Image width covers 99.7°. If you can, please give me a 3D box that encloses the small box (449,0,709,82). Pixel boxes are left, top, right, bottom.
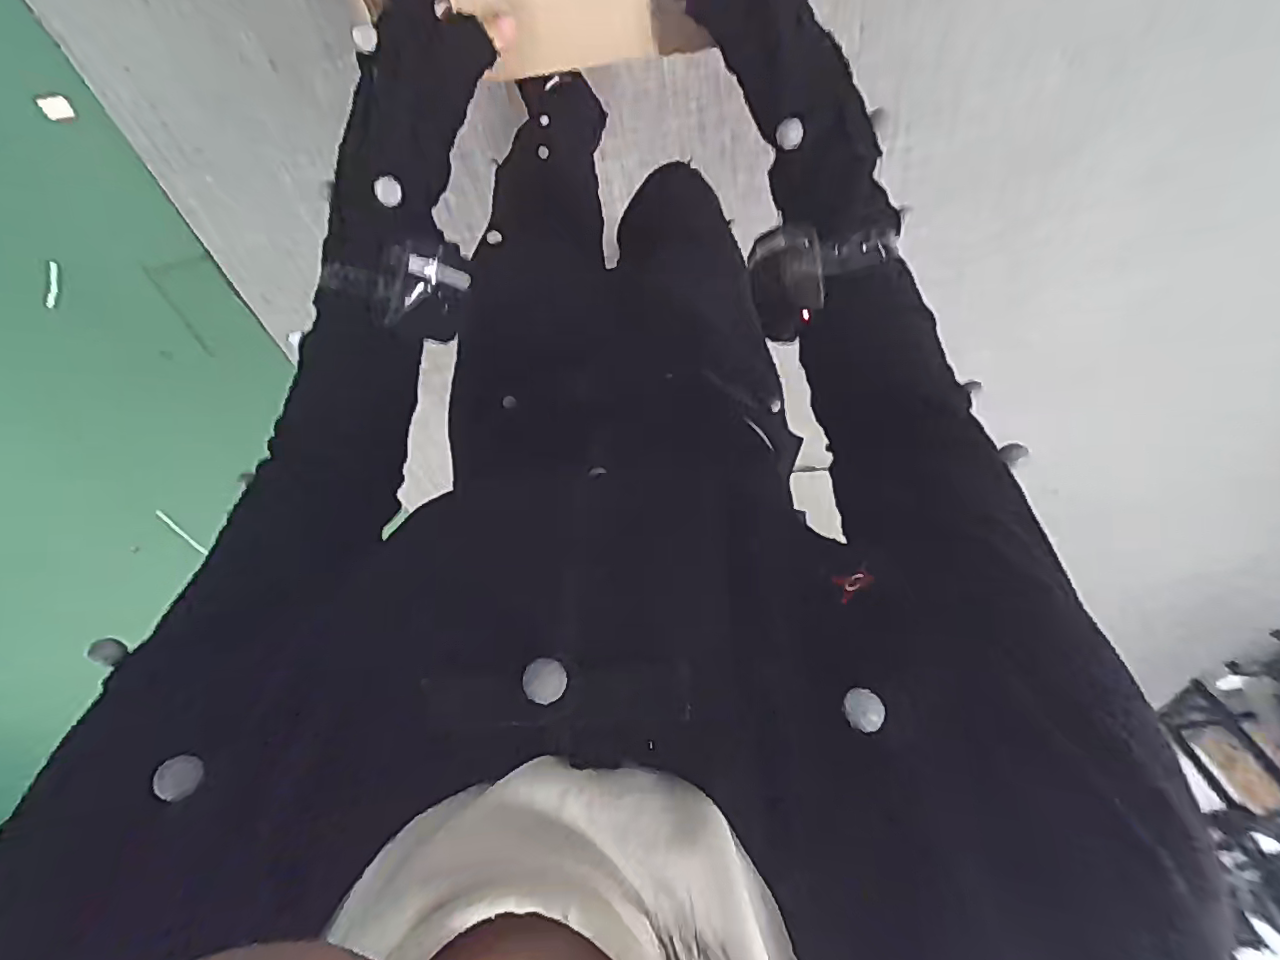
[{"bbox_3d":[-0.055,-0.407,0.377,0.179,0.176,0.168,-10,139,-4],"label":"small box"}]
